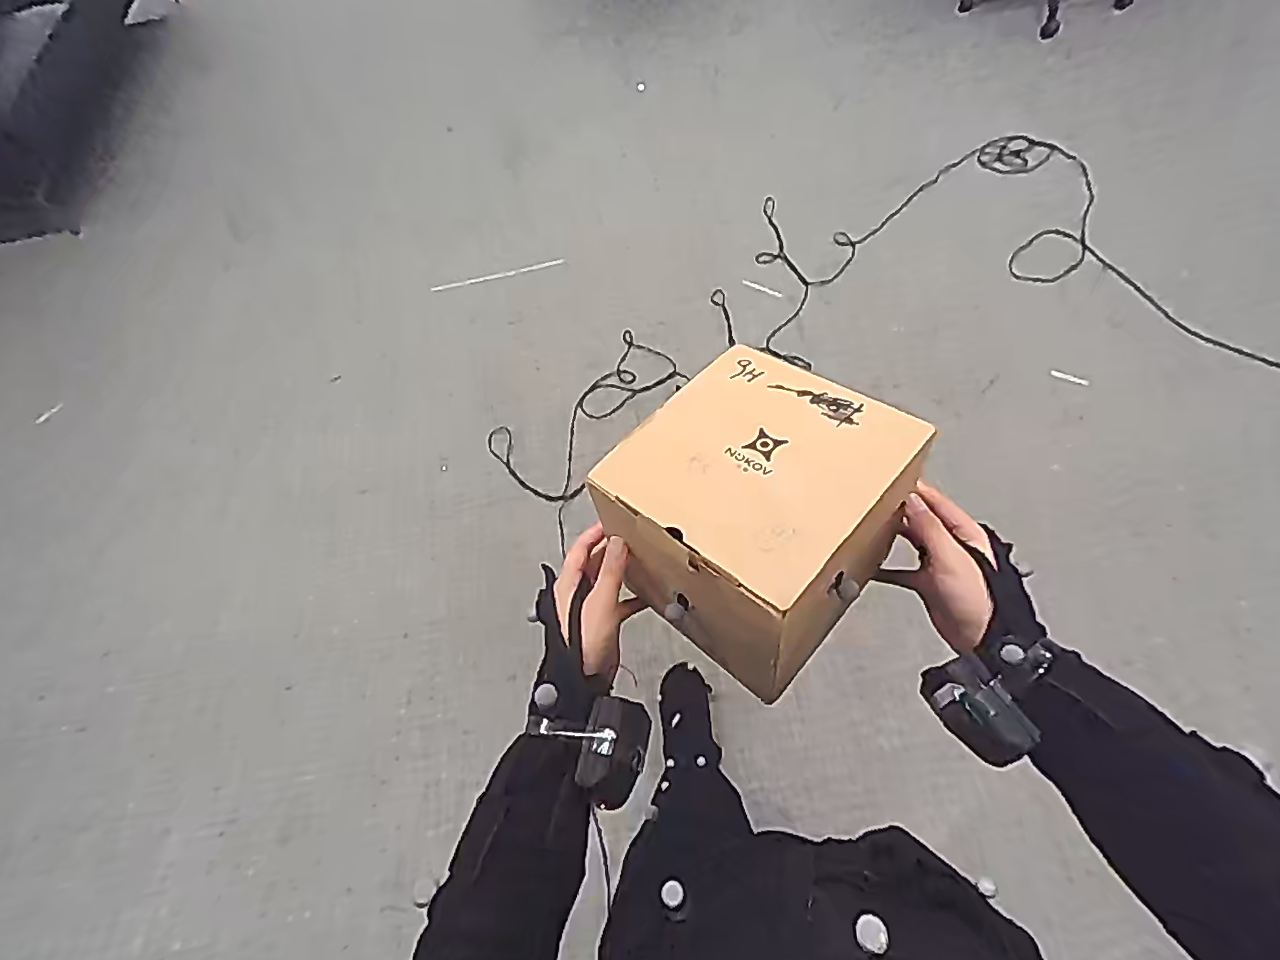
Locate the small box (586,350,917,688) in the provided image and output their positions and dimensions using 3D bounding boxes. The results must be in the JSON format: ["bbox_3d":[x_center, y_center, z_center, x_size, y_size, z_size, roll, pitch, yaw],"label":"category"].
[{"bbox_3d":[0.088,0.034,0.437,0.168,0.176,0.179,33,65,32],"label":"small box"}]
